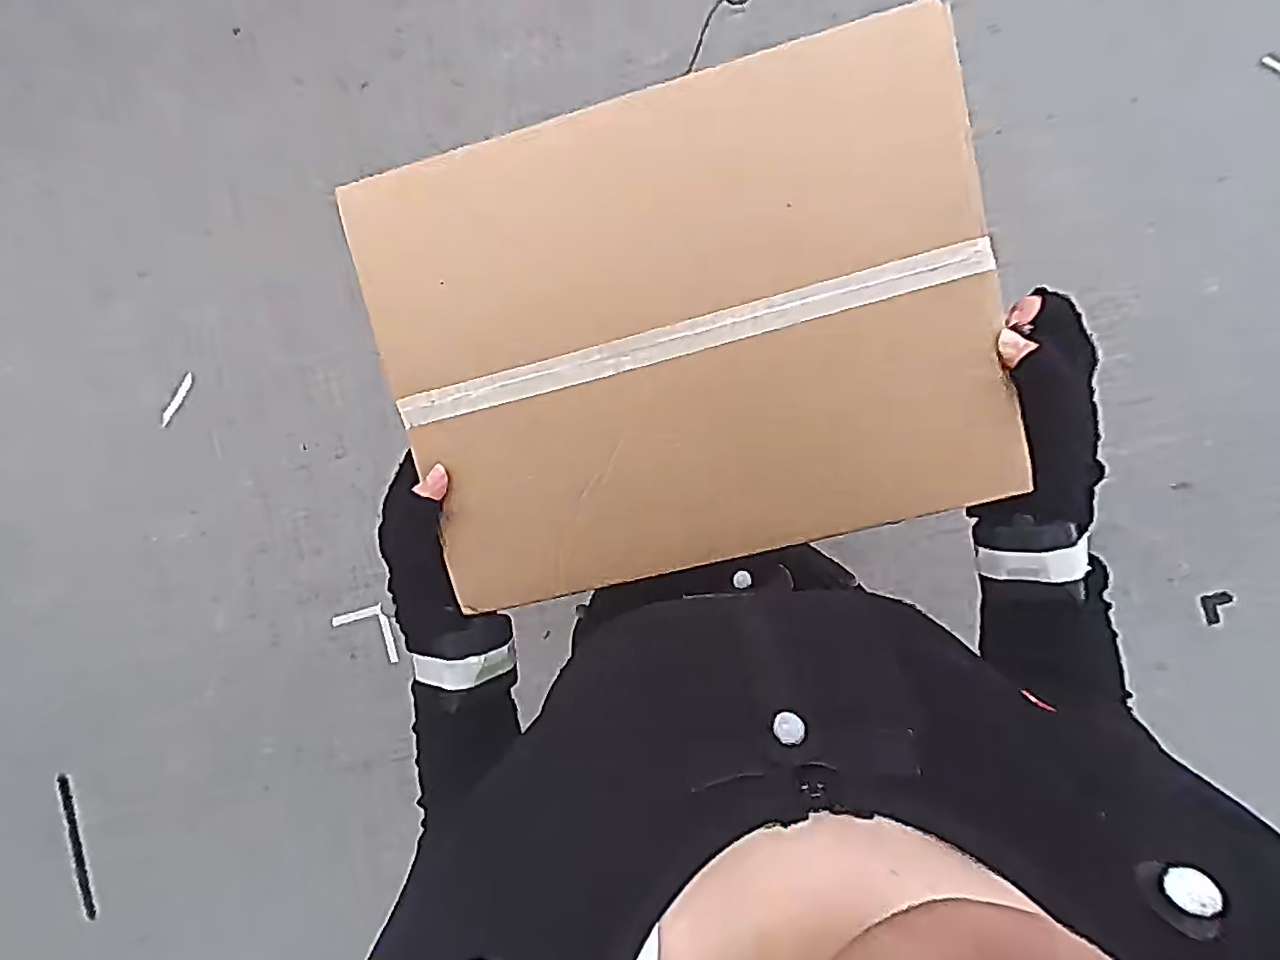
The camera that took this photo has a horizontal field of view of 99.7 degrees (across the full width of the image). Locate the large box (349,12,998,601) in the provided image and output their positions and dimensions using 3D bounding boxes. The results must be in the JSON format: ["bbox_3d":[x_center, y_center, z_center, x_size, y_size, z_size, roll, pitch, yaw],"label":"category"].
[{"bbox_3d":[0.033,-0.122,0.523,0.408,0.320,0.320,-14,96,6],"label":"large box"}]
